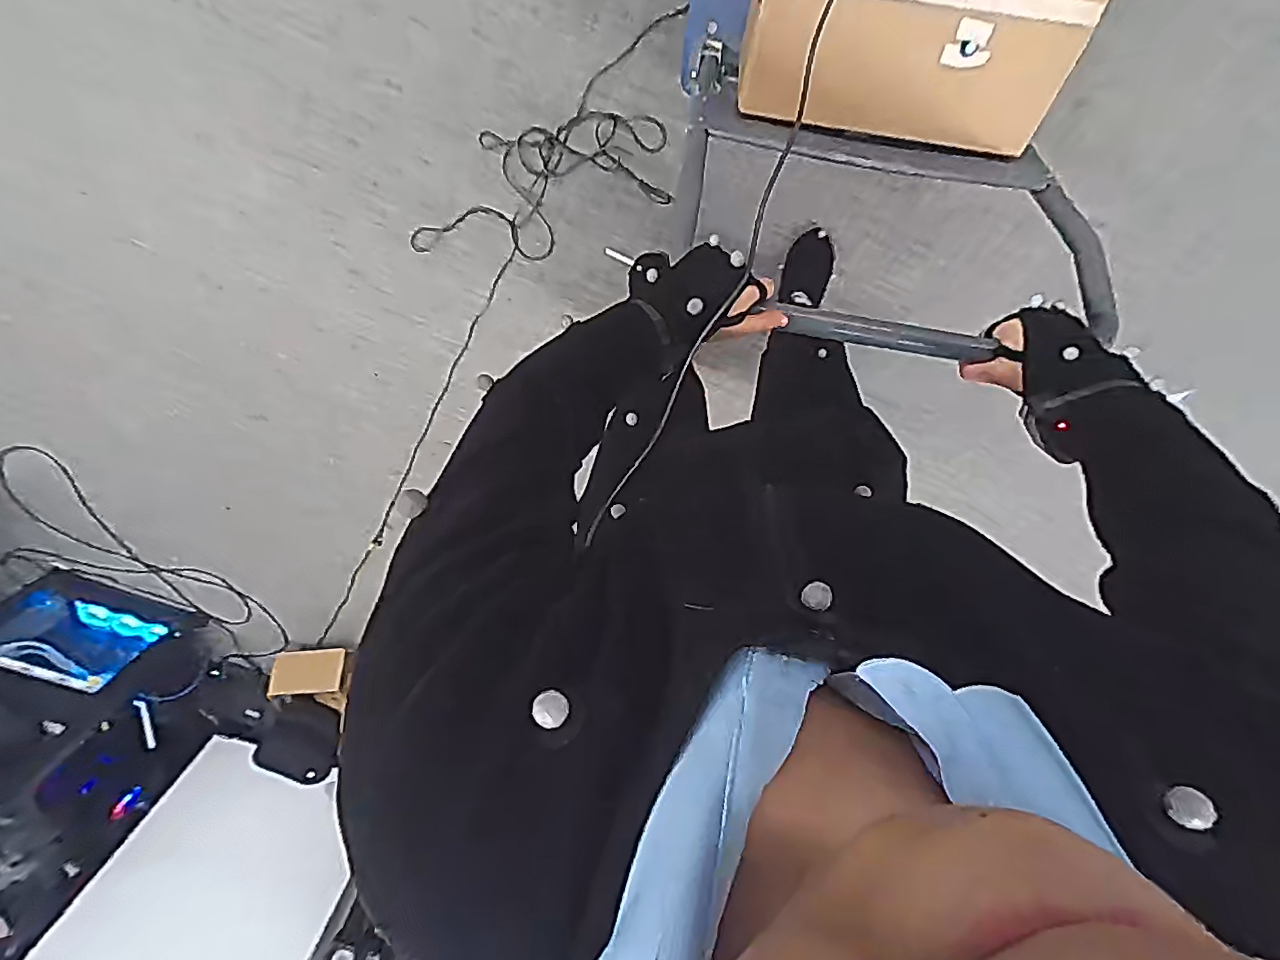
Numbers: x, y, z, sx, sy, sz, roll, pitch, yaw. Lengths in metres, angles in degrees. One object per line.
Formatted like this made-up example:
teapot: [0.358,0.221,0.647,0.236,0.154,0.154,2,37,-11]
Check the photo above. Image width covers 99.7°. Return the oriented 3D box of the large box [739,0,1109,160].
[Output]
large box: [0.366,-0.688,0.749,0.408,0.320,0.320,9,139,0]
